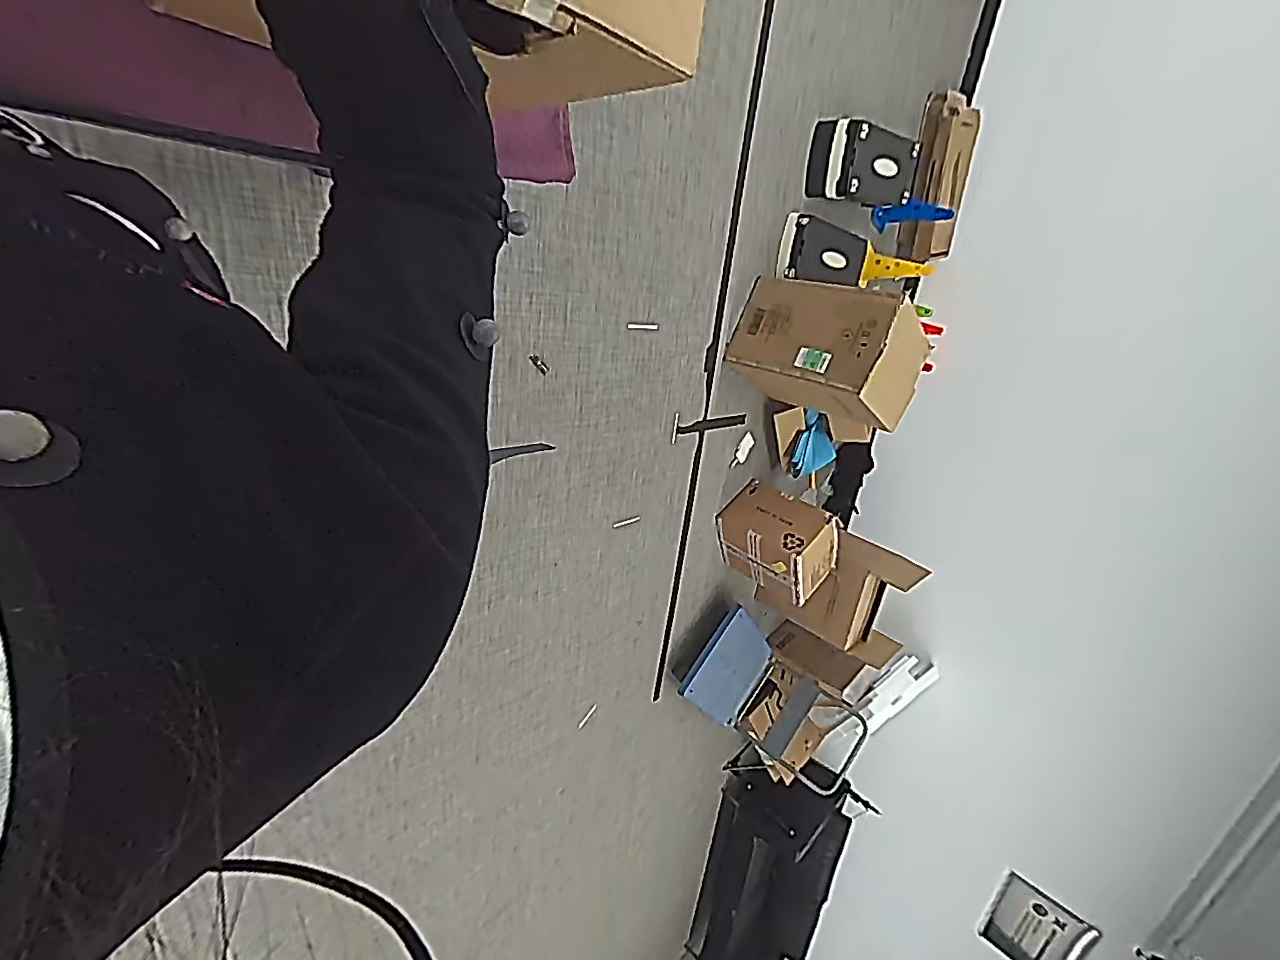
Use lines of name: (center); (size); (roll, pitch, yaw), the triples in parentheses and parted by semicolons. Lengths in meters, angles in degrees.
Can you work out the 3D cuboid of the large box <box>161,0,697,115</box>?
large box: (-0.154, -0.531, 0.366); (0.320, 0.320, 0.408); (-15, 119, -44)
